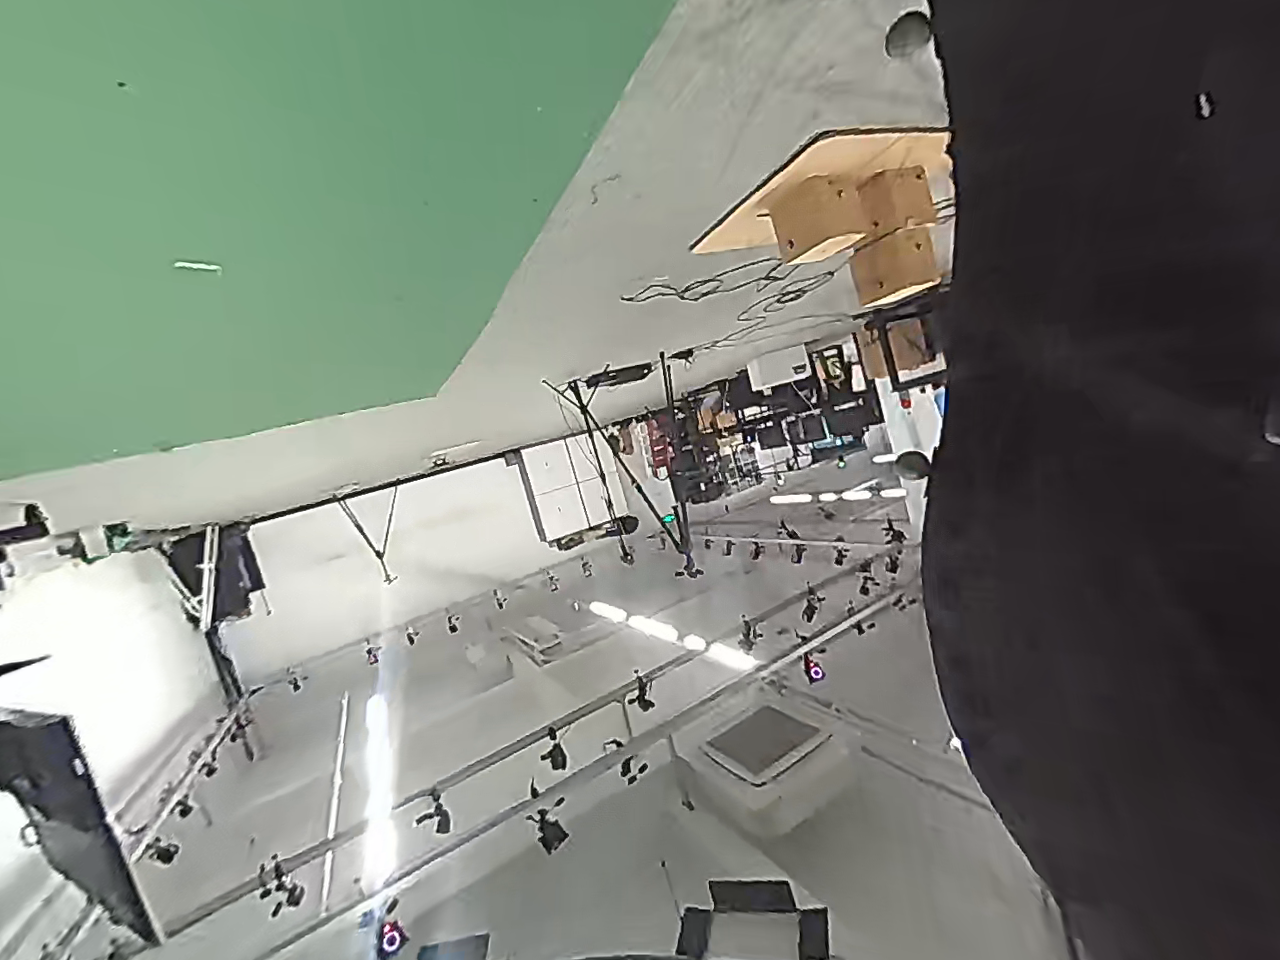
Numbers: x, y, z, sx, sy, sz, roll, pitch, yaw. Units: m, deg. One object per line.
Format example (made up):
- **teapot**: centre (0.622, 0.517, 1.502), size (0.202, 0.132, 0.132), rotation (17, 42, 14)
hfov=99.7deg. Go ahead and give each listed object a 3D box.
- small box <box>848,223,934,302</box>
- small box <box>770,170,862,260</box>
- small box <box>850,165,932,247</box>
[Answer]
- **small box**: centre (0.768, -0.672, 1.672), size (0.168, 0.176, 0.179), rotation (-19, -175, -25)
- **small box**: centre (0.490, -0.749, 1.533), size (0.168, 0.176, 0.179), rotation (-21, -175, -29)
- **small box**: centre (0.737, -0.830, 1.635), size (0.168, 0.176, 0.179), rotation (-19, -175, -23)
